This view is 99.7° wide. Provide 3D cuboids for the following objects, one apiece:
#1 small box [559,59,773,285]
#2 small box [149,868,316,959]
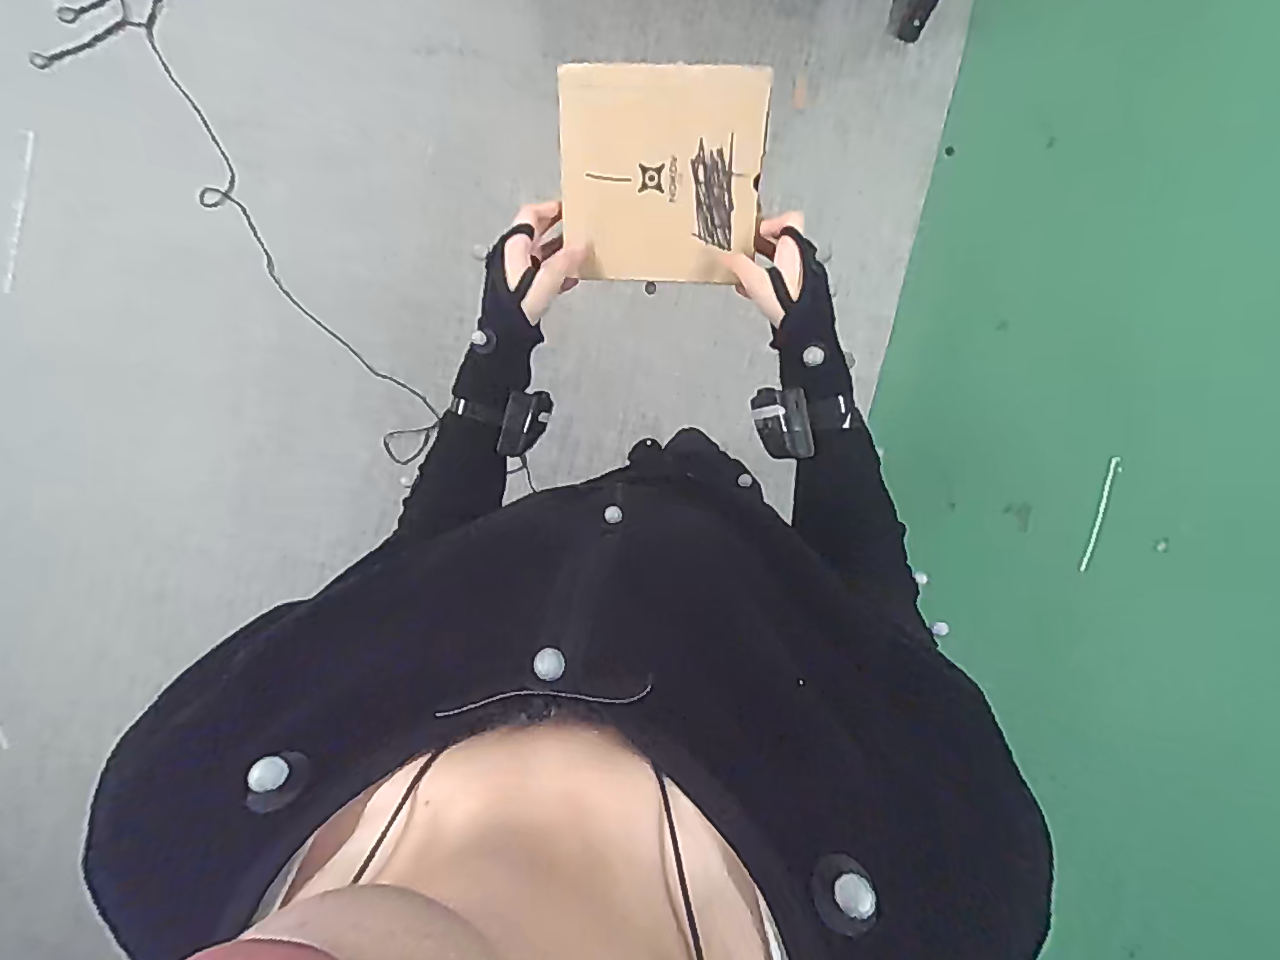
[{"bbox_3d":[0.021,-0.288,0.536,0.179,0.176,0.168,3,112,2],"label":"small box"},{"bbox_3d":[-0.678,0.804,0.894,0.168,0.176,0.179,17,92,2],"label":"small box"}]
